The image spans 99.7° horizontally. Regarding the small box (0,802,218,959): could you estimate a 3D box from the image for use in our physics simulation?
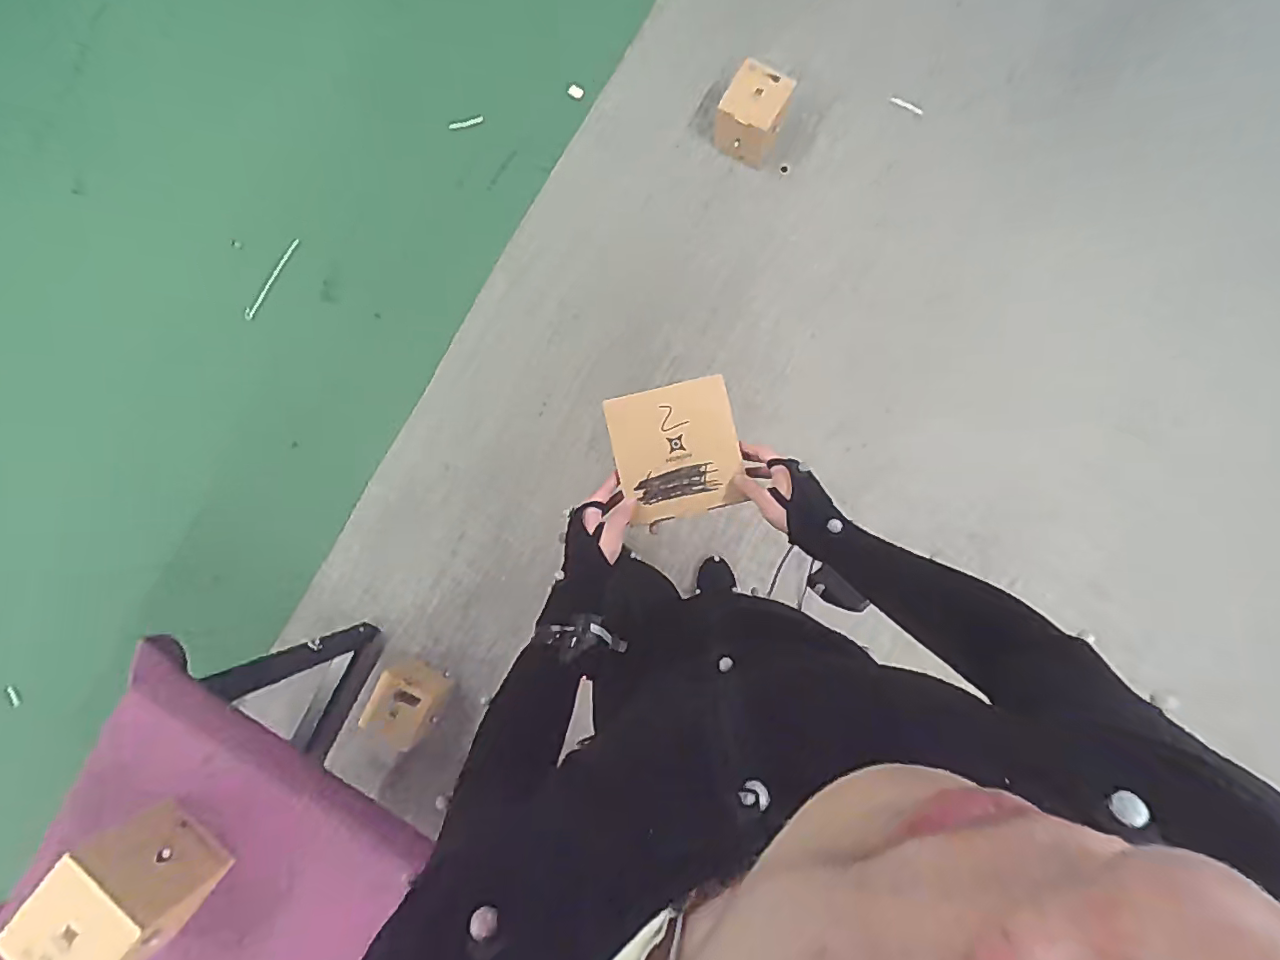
[{"bbox_3d":[-0.821,0.658,0.850,0.168,0.176,0.179,39,90,6],"label":"small box"}]

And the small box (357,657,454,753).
[{"bbox_3d":[-0.669,0.641,1.568,0.168,0.176,0.179,26,90,7],"label":"small box"}]

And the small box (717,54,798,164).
[{"bbox_3d":[0.340,-1.086,1.599,0.168,0.176,0.179,32,89,6],"label":"small box"}]
